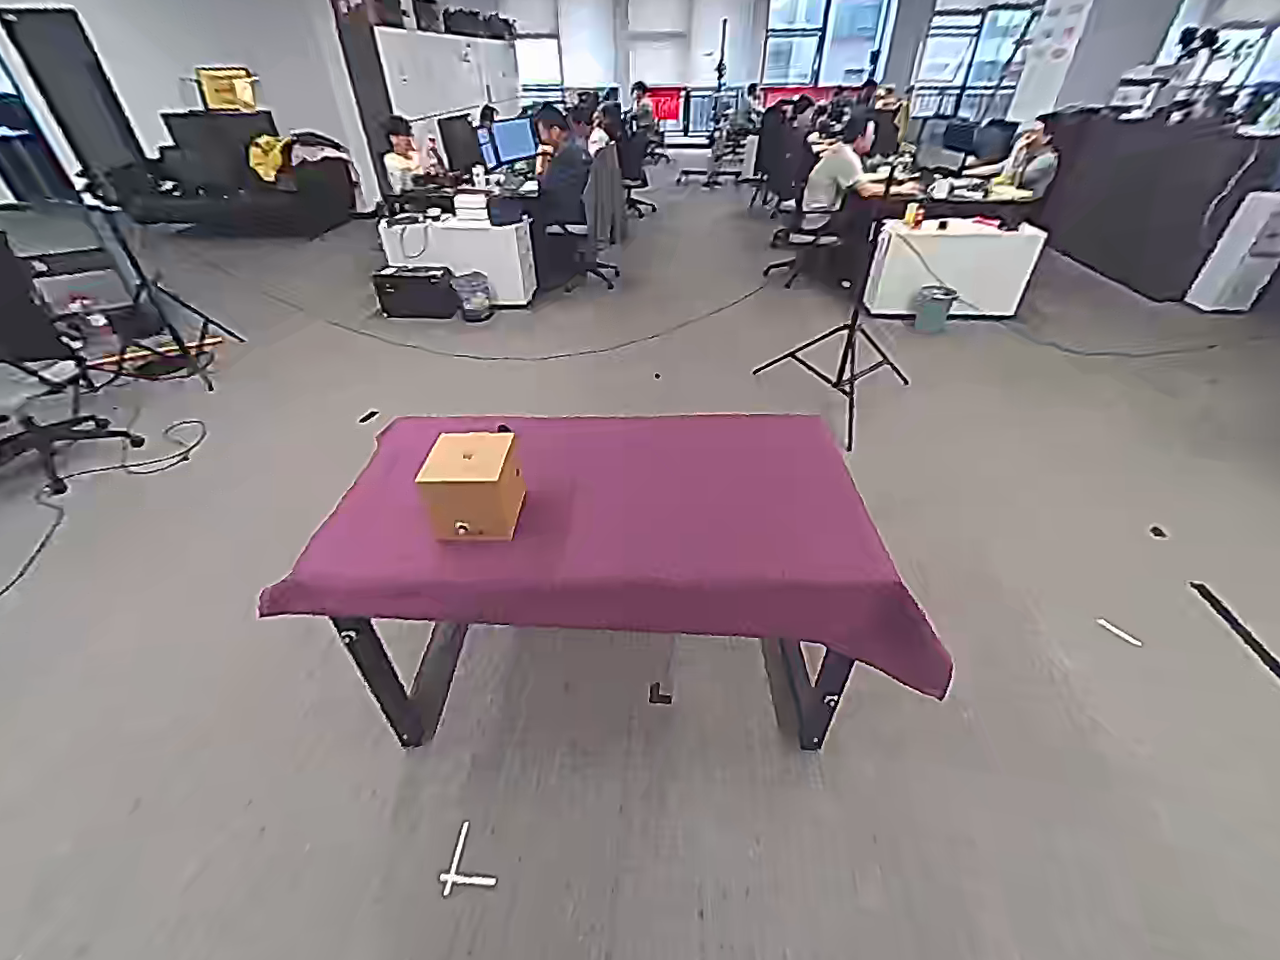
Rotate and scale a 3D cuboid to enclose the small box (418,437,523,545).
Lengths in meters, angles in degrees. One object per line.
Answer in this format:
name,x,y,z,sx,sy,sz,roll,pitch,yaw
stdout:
small box,-0.355,0.022,1.173,0.168,0.176,0.179,-1,38,1
